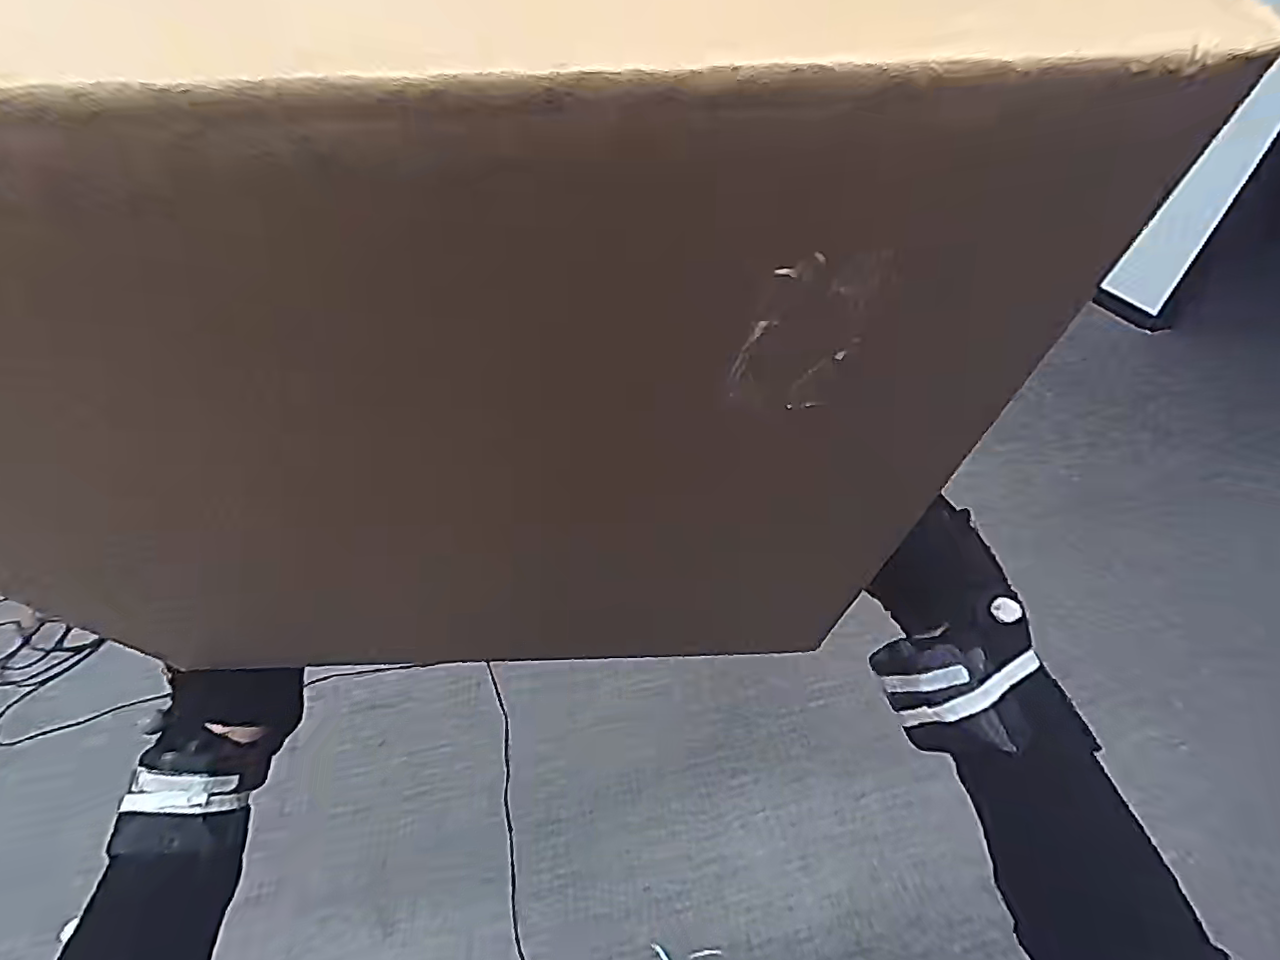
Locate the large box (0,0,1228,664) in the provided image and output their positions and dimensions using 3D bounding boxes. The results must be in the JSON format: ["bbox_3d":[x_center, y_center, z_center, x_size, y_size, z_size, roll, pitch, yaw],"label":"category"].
[{"bbox_3d":[-0.082,-0.100,0.311,0.408,0.320,0.320,-1,55,-2],"label":"large box"}]
